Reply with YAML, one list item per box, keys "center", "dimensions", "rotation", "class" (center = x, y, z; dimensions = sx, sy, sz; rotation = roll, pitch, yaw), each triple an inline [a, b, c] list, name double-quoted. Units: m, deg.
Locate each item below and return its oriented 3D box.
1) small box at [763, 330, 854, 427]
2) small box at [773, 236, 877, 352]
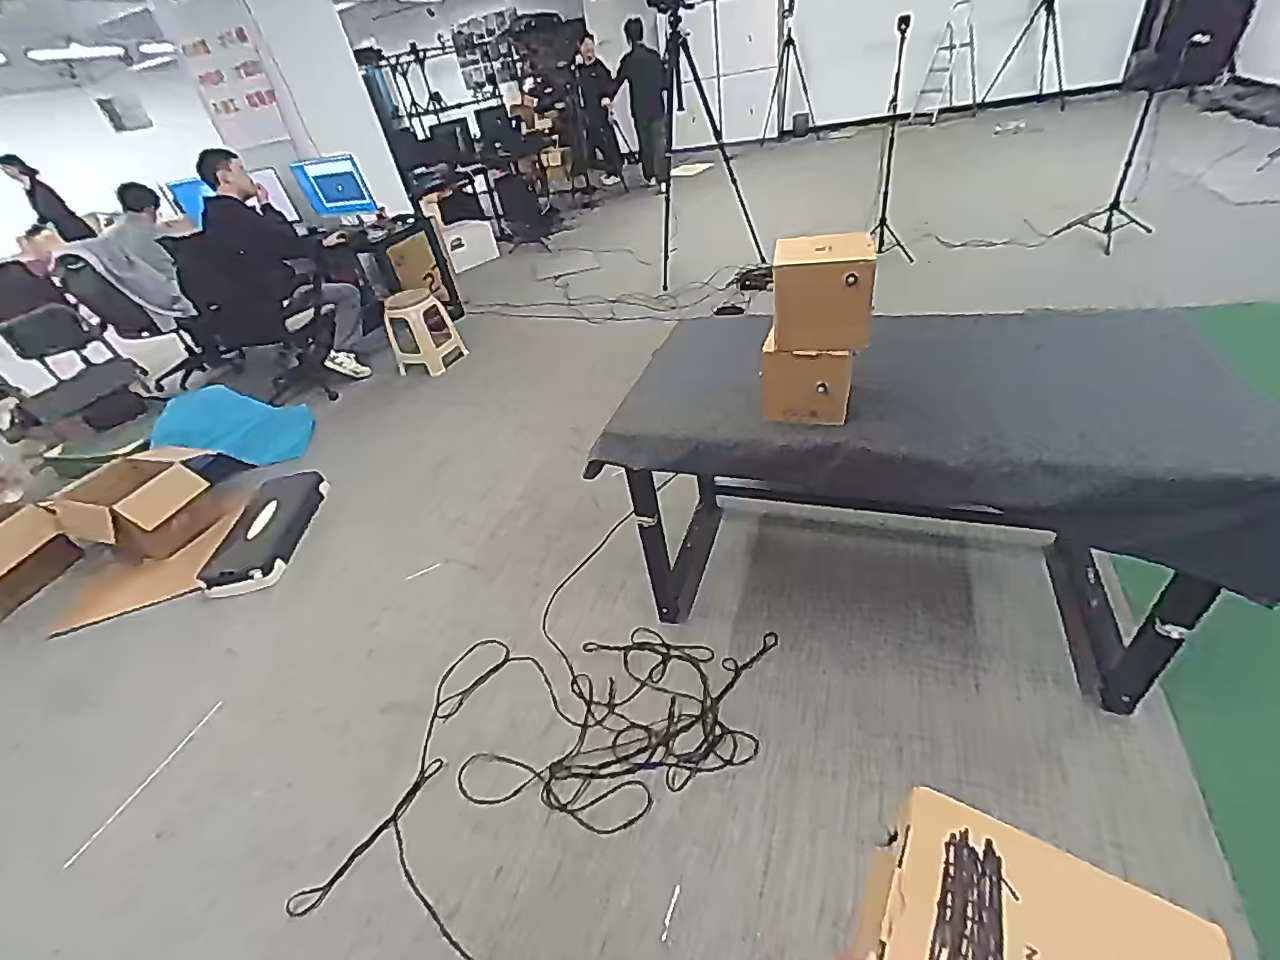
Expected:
- center: [0.360, -0.228, 1.147]
  dimensions: [0.168, 0.176, 0.179]
  rotation: [7, 40, 21]
  class: "small box"
- center: [0.351, -0.356, 1.046]
  dimensions: [0.179, 0.176, 0.168]
  rotation: [2, 39, 16]
  class: "small box"
